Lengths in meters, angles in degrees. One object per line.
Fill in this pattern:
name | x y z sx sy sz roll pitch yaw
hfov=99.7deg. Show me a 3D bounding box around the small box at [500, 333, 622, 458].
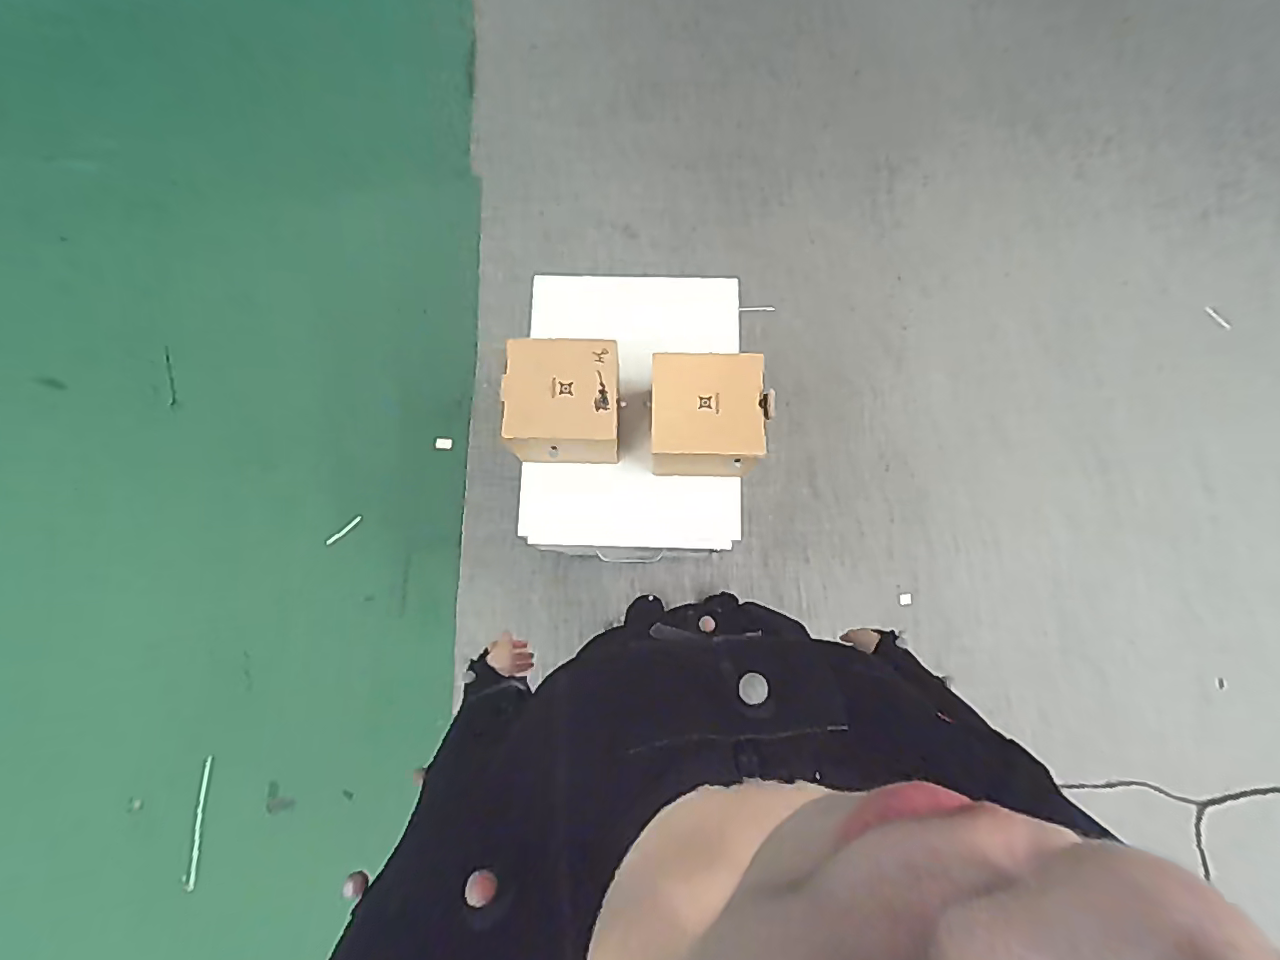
small box | -0.122 -0.133 0.907 0.179 0.176 0.168 1 80 0
